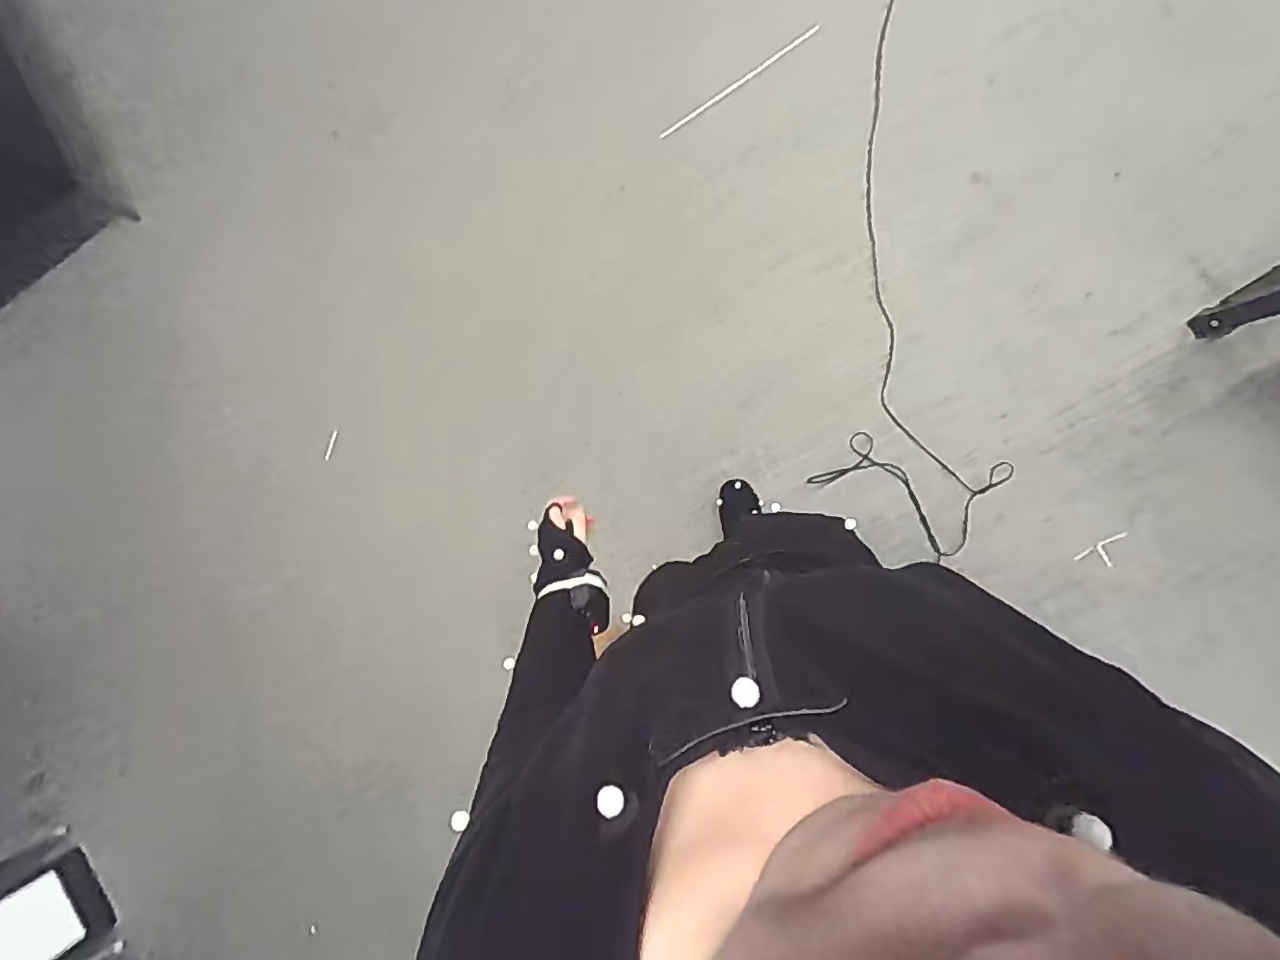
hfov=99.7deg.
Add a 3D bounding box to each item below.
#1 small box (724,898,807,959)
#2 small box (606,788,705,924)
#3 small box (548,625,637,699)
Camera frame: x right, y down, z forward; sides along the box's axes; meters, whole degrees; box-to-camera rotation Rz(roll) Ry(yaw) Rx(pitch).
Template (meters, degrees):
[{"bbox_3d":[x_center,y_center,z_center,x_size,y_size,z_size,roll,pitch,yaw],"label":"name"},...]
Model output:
[{"bbox_3d":[0.328,1.244,1.402,0.179,0.176,0.168,-32,85,8],"label":"small box"},{"bbox_3d":[0.045,0.877,1.275,0.168,0.176,0.179,-26,87,8],"label":"small box"},{"bbox_3d":[-0.120,0.516,1.463,0.179,0.176,0.168,-28,86,7],"label":"small box"}]
